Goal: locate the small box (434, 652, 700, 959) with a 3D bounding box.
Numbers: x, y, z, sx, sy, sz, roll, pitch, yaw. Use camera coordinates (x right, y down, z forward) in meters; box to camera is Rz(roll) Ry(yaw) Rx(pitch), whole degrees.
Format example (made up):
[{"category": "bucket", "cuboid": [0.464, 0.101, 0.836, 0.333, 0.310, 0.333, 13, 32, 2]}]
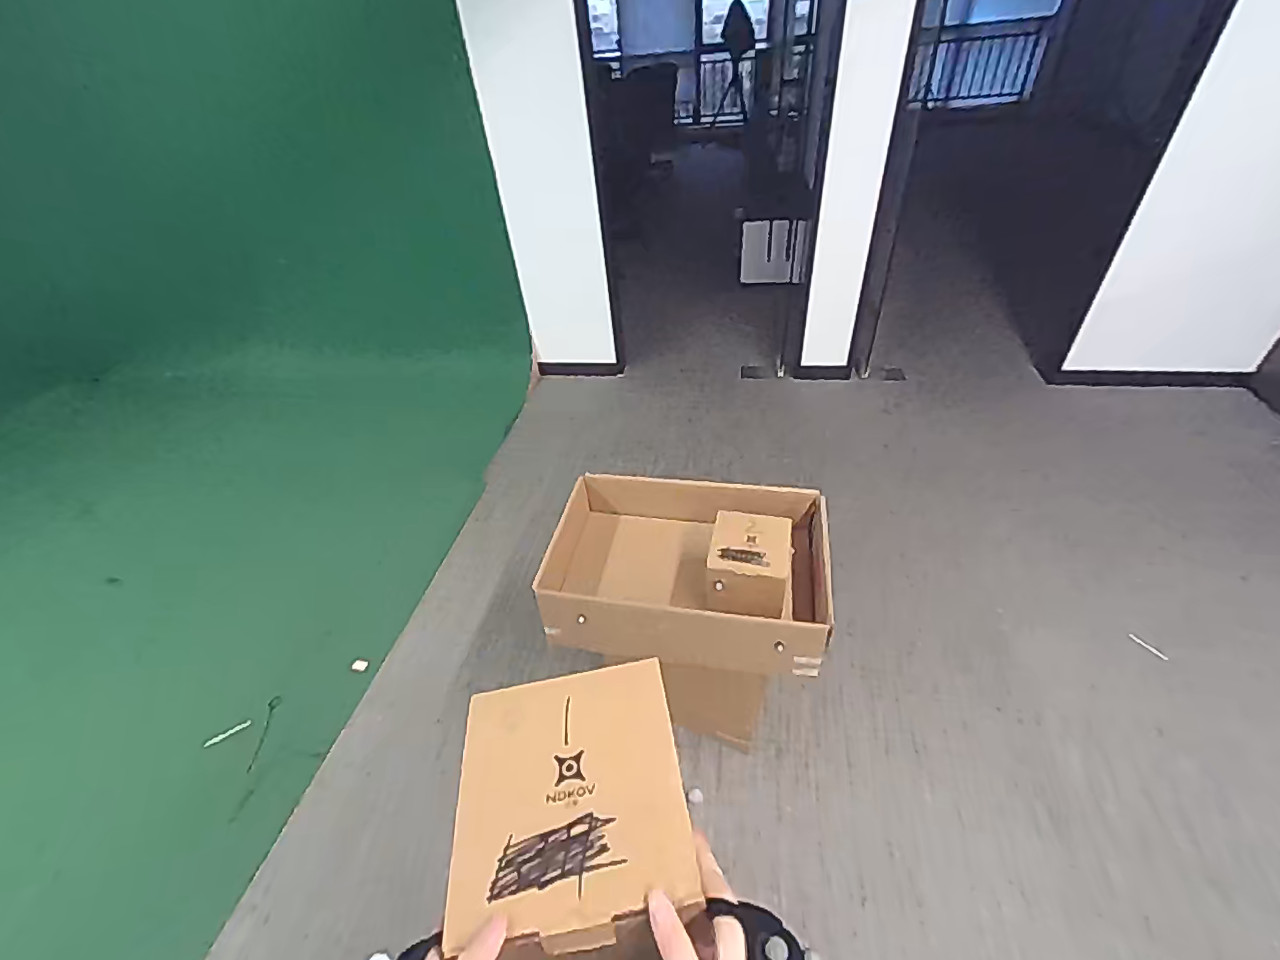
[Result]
[{"category": "small box", "cuboid": [-0.048, 0.279, 0.453, 0.168, 0.176, 0.179, -10, 36, -1]}]
